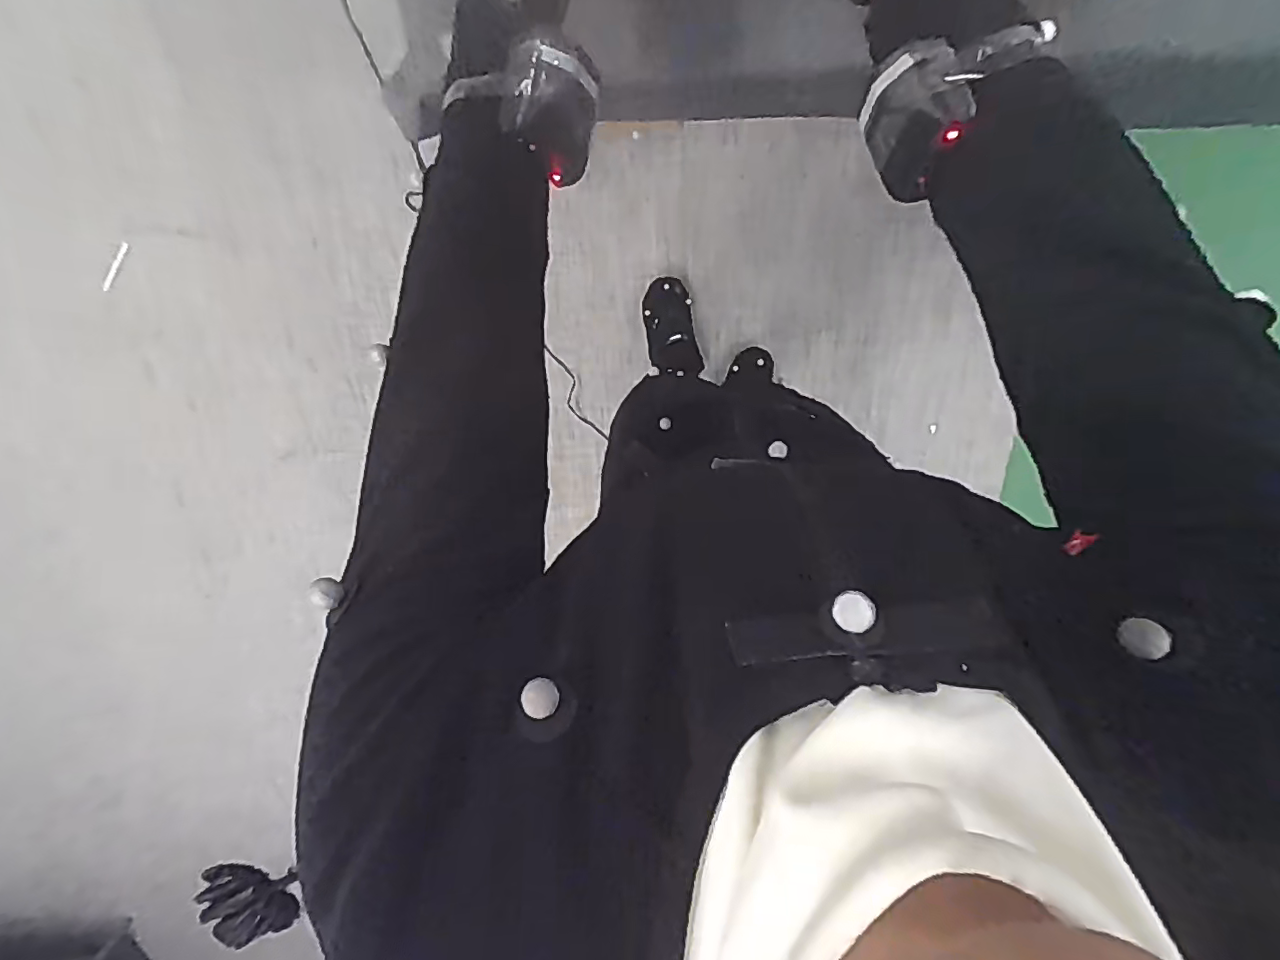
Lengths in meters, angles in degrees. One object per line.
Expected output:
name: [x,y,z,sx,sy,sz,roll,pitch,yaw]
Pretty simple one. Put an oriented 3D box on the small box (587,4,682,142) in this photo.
small box: [-0.009,-0.781,1.054,0.168,0.176,0.179,-4,115,3]
